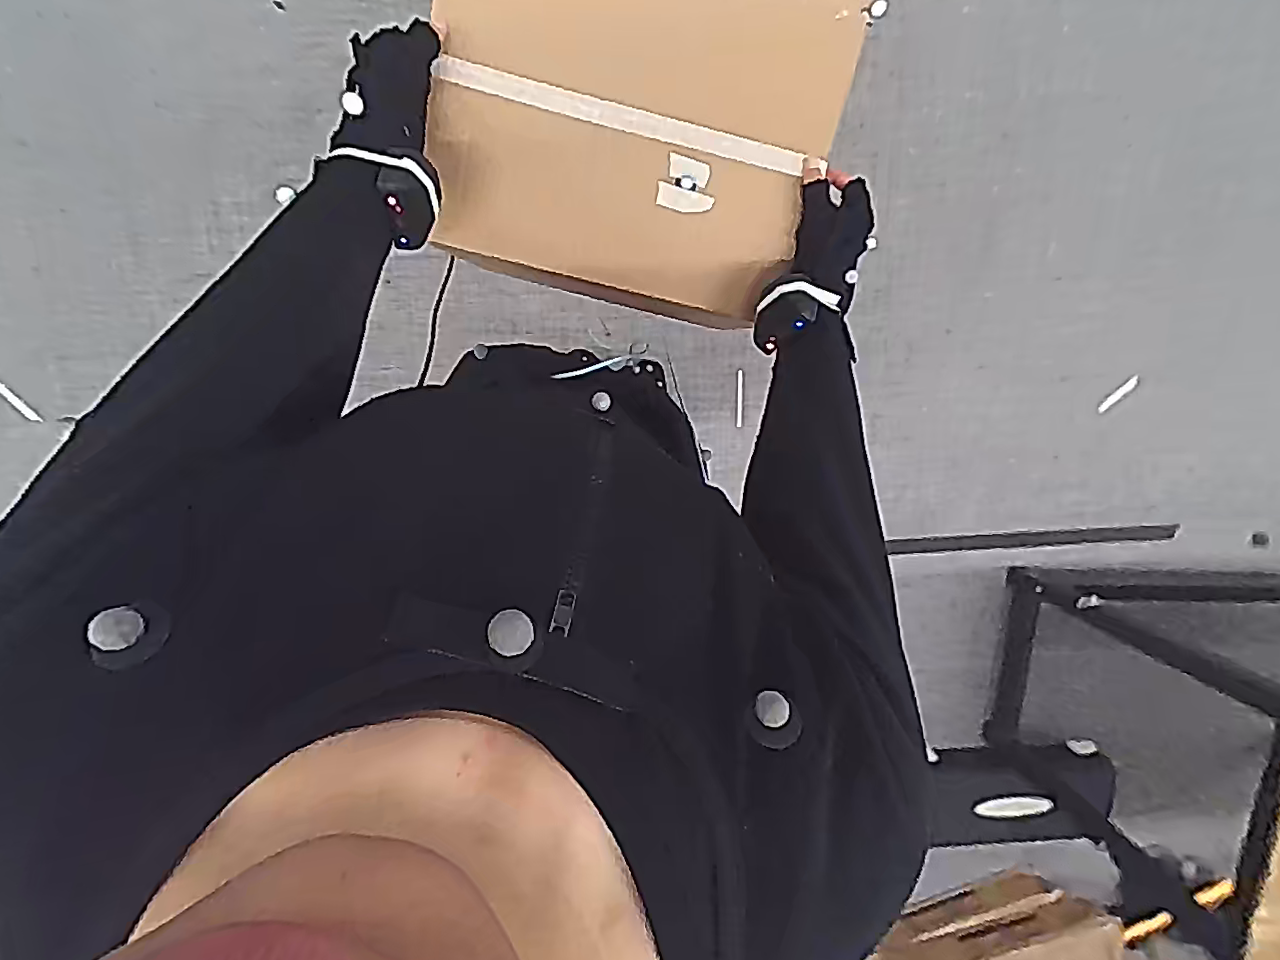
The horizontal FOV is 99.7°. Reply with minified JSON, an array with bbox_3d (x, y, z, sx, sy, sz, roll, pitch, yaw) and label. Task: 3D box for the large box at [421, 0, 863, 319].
[{"bbox_3d":[-0.014,-0.406,0.689,0.408,0.320,0.320,12,105,-6],"label":"large box"}]
